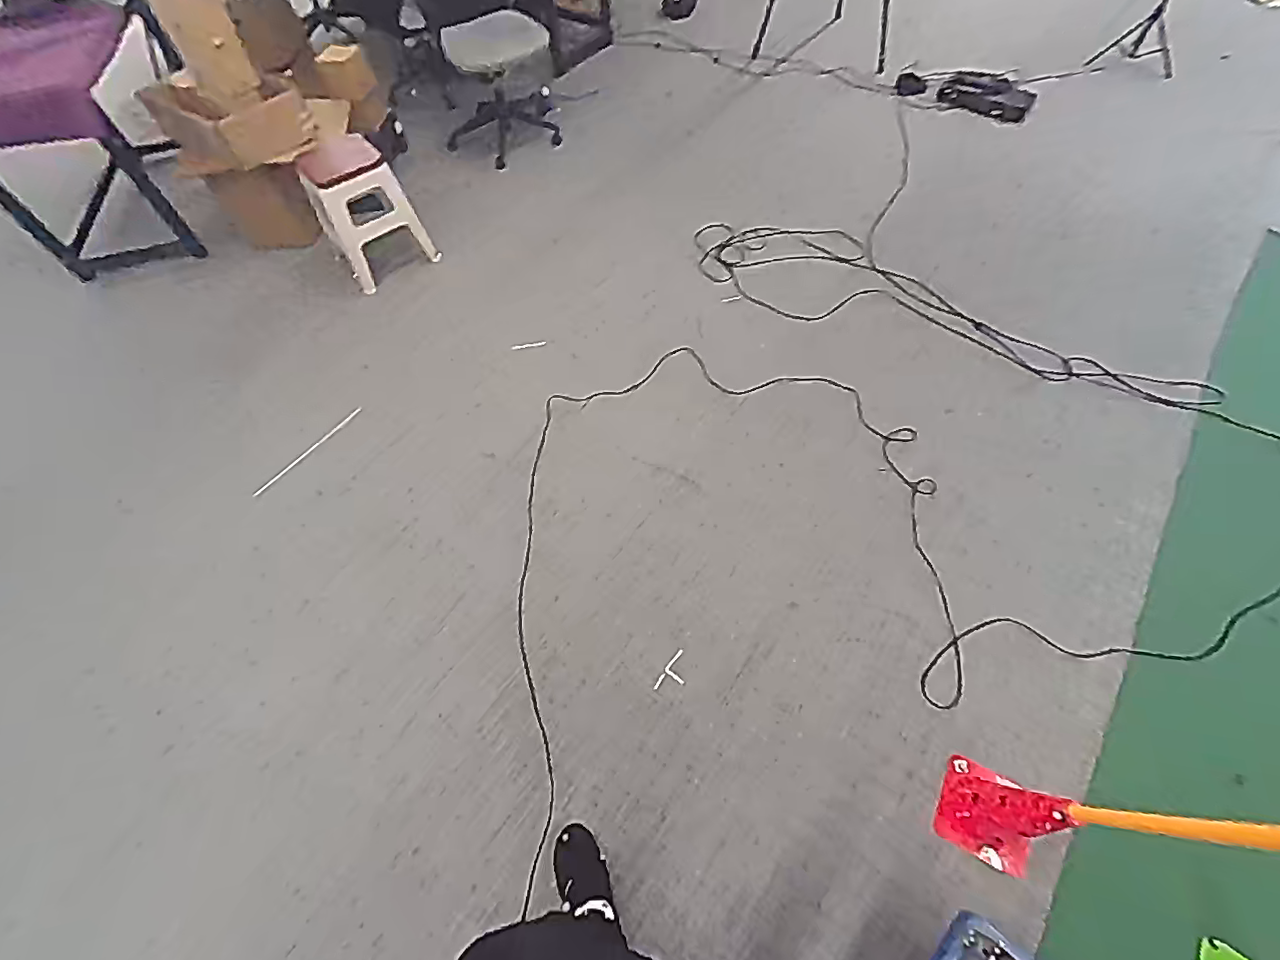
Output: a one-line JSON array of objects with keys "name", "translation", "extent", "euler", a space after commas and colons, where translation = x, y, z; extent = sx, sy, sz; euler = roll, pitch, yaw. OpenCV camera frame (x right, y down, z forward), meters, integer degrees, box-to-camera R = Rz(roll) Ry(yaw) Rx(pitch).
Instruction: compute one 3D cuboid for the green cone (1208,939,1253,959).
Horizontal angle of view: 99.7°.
[{"name": "green cone", "translation": [1.236, 0.993, 0.934], "extent": [0.202, 0.368, 0.200], "euler": [32, 65, 20]}]
